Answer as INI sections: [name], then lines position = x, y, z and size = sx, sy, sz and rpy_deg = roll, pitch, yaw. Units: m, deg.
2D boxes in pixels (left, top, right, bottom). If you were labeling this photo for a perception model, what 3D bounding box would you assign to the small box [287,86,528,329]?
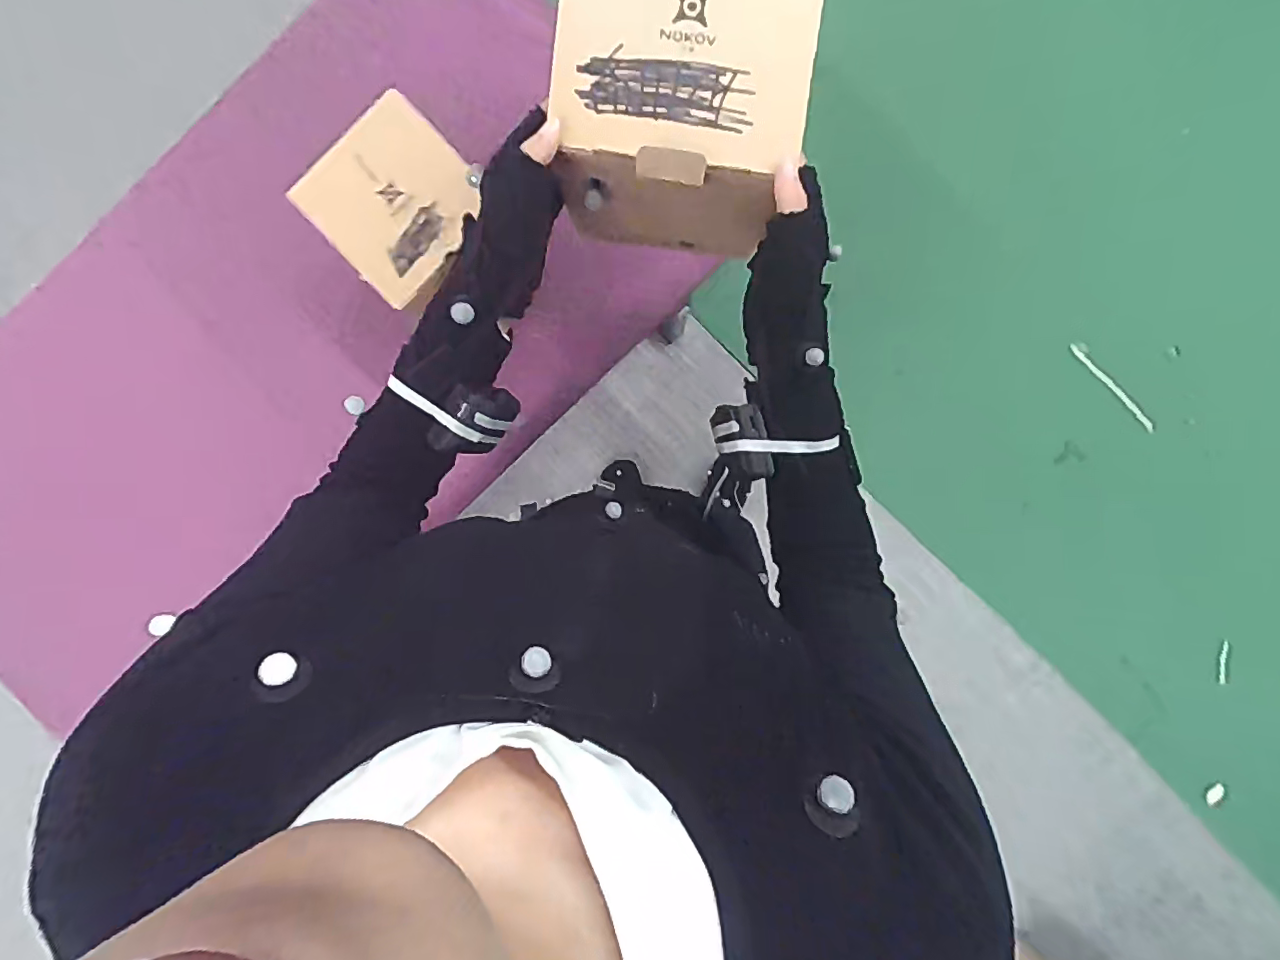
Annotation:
[small box]
position = -0.260, -0.304, 0.654
size = 0.168, 0.176, 0.179
rpy_deg = -40, 92, 1
